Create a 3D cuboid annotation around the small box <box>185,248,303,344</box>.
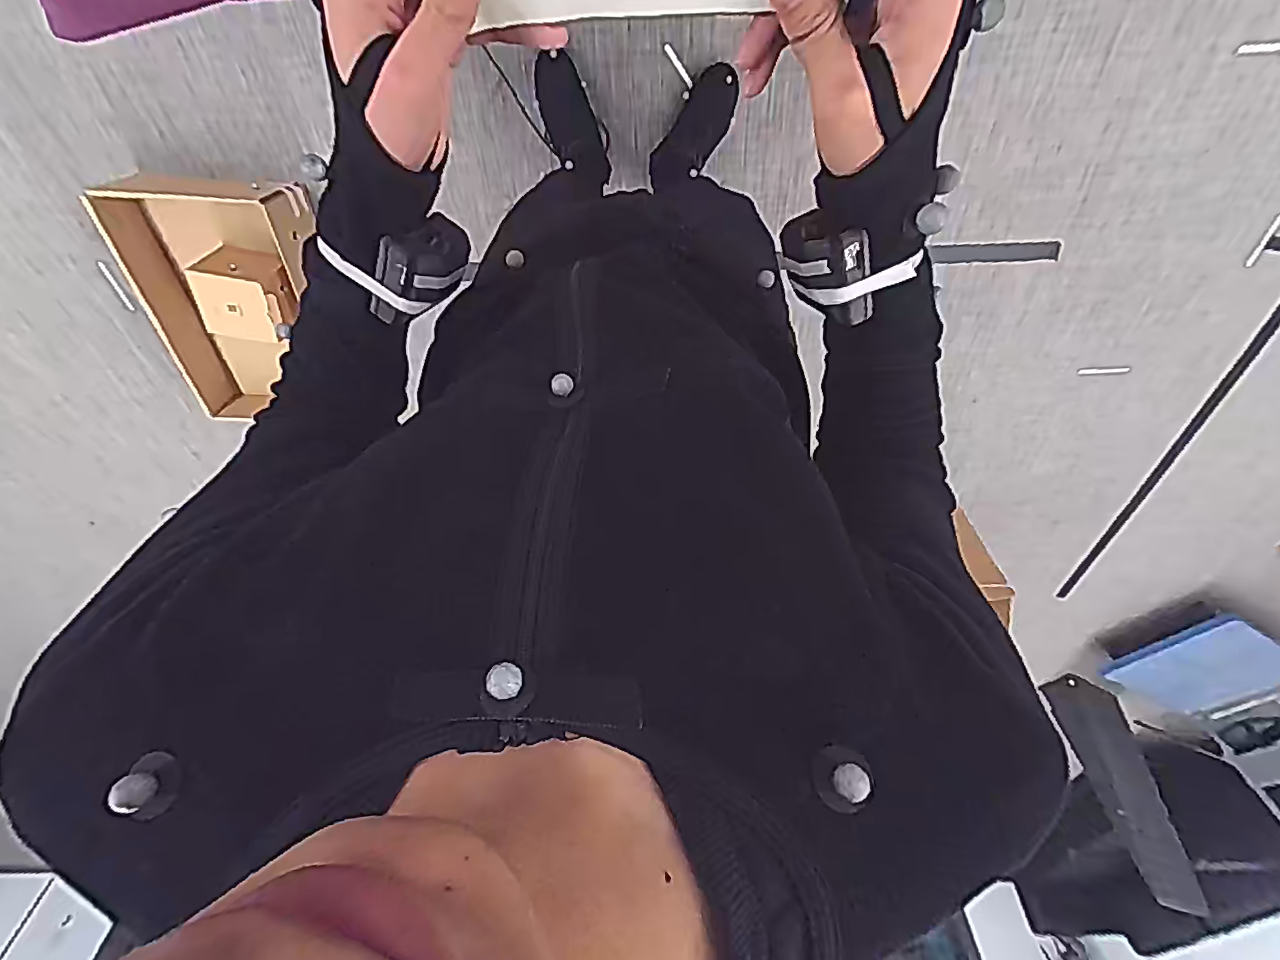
[{"bbox_3d":[-0.995,-0.474,1.385,0.179,0.176,0.168,8,132,-8],"label":"small box"}]
